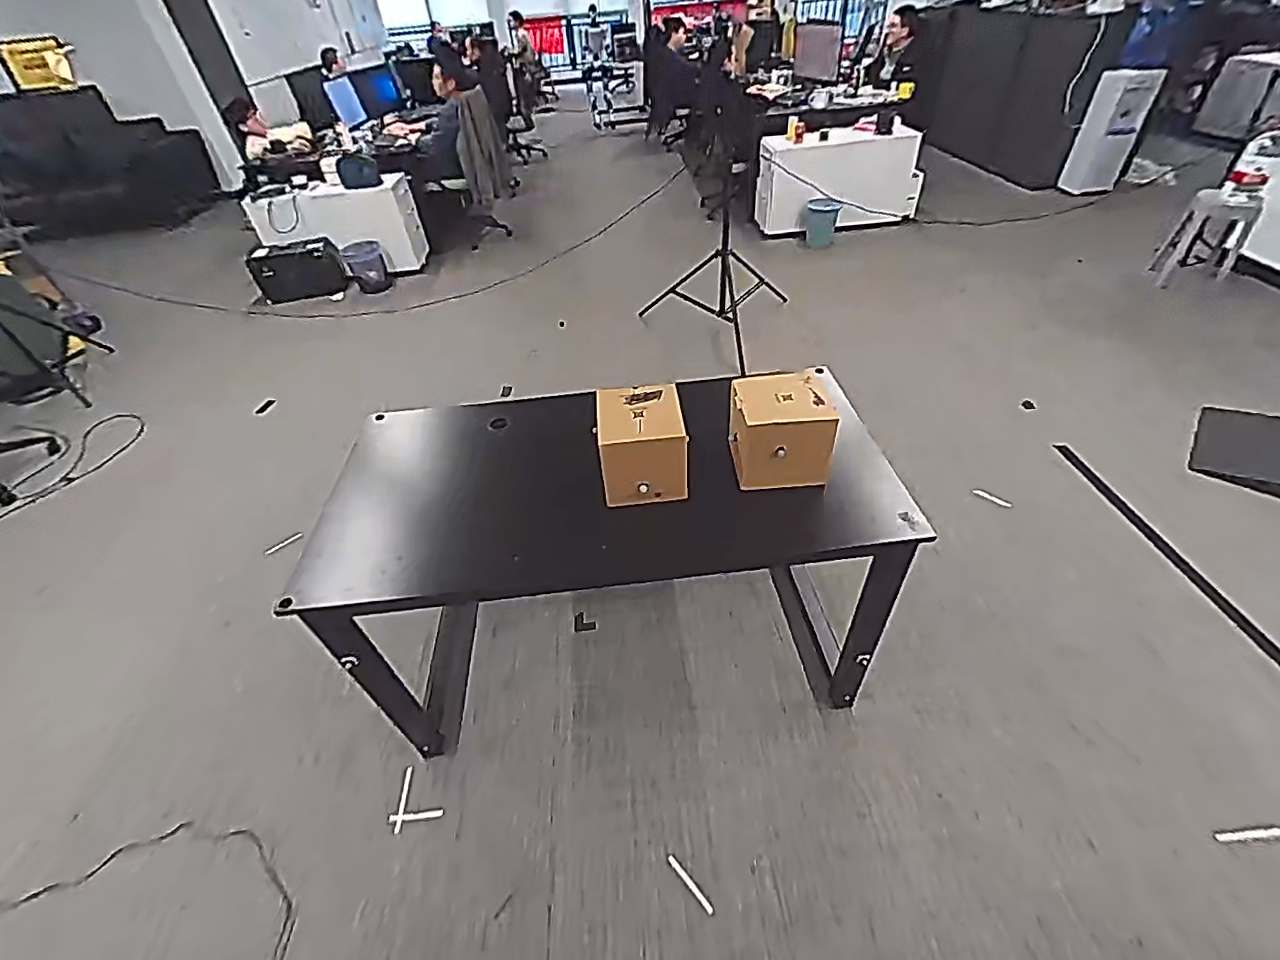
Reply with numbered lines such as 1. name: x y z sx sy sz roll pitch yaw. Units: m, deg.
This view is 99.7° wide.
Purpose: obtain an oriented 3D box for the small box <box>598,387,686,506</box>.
1. small box: 0.003 -0.069 1.111 0.168 0.176 0.179 -6 43 0

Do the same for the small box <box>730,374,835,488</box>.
1. small box: 0.282 -0.097 1.111 0.179 0.176 0.168 -5 42 2
